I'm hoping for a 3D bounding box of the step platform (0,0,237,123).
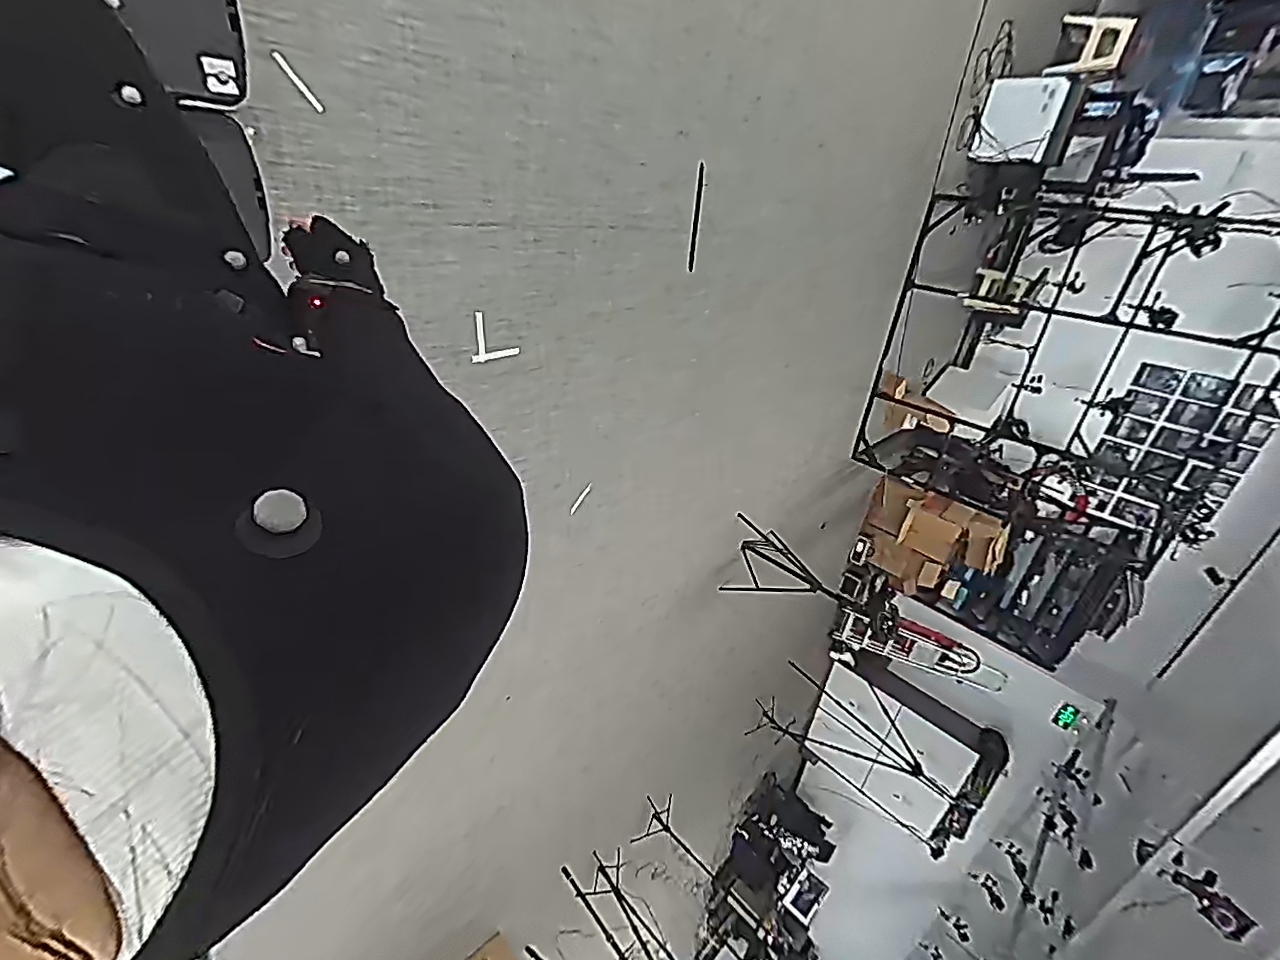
[{"bbox_3d":[-1.003,-0.718,0.770,0.684,0.204,0.286,-24,131,-41],"label":"step platform"}]
